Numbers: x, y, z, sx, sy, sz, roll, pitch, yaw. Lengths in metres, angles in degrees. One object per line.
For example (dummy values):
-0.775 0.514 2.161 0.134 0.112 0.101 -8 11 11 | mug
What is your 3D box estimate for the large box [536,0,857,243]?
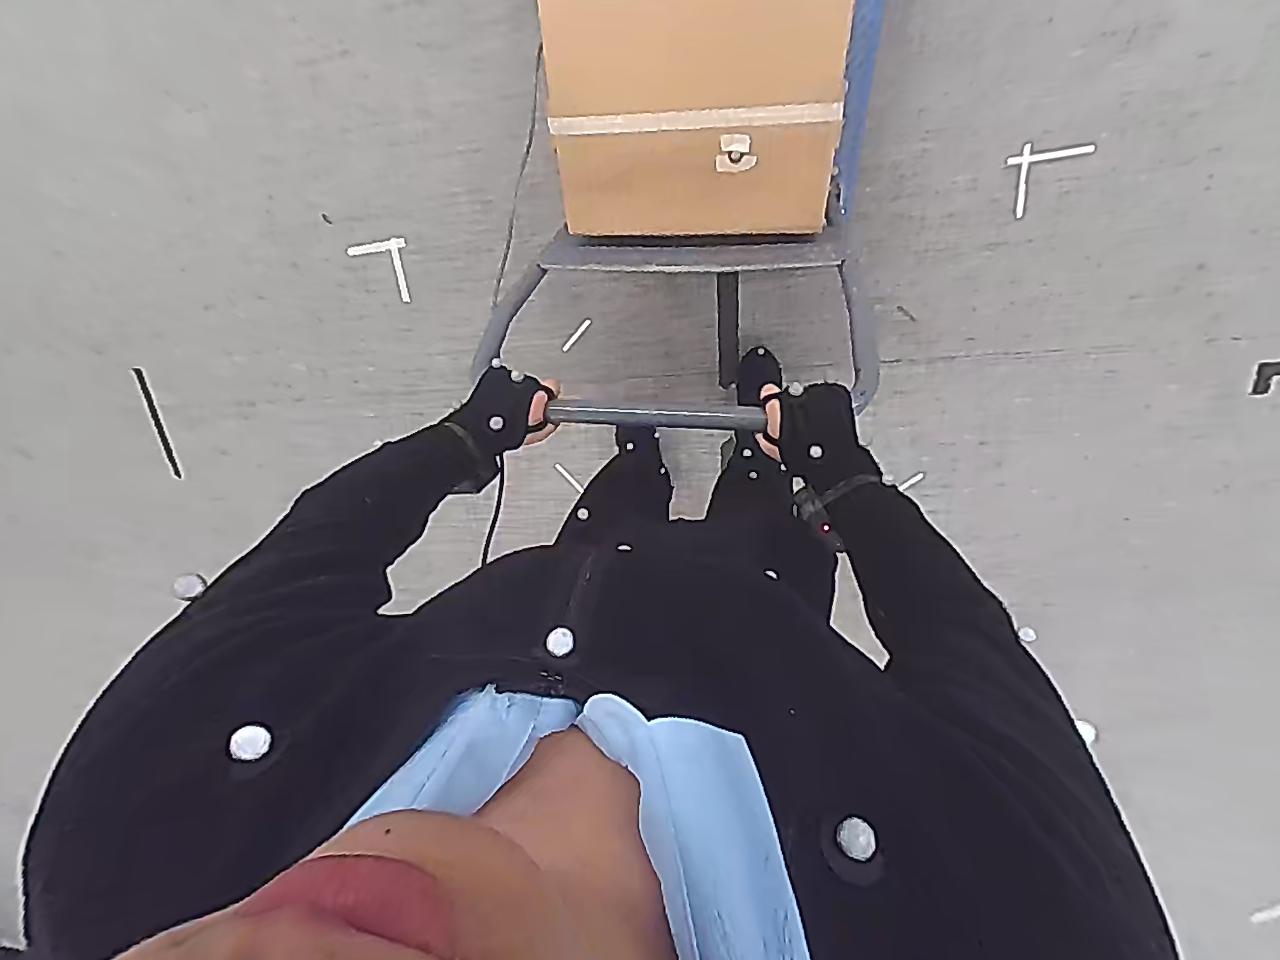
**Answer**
0.094 -0.589 0.863 0.408 0.320 0.320 3 131 9 | large box
